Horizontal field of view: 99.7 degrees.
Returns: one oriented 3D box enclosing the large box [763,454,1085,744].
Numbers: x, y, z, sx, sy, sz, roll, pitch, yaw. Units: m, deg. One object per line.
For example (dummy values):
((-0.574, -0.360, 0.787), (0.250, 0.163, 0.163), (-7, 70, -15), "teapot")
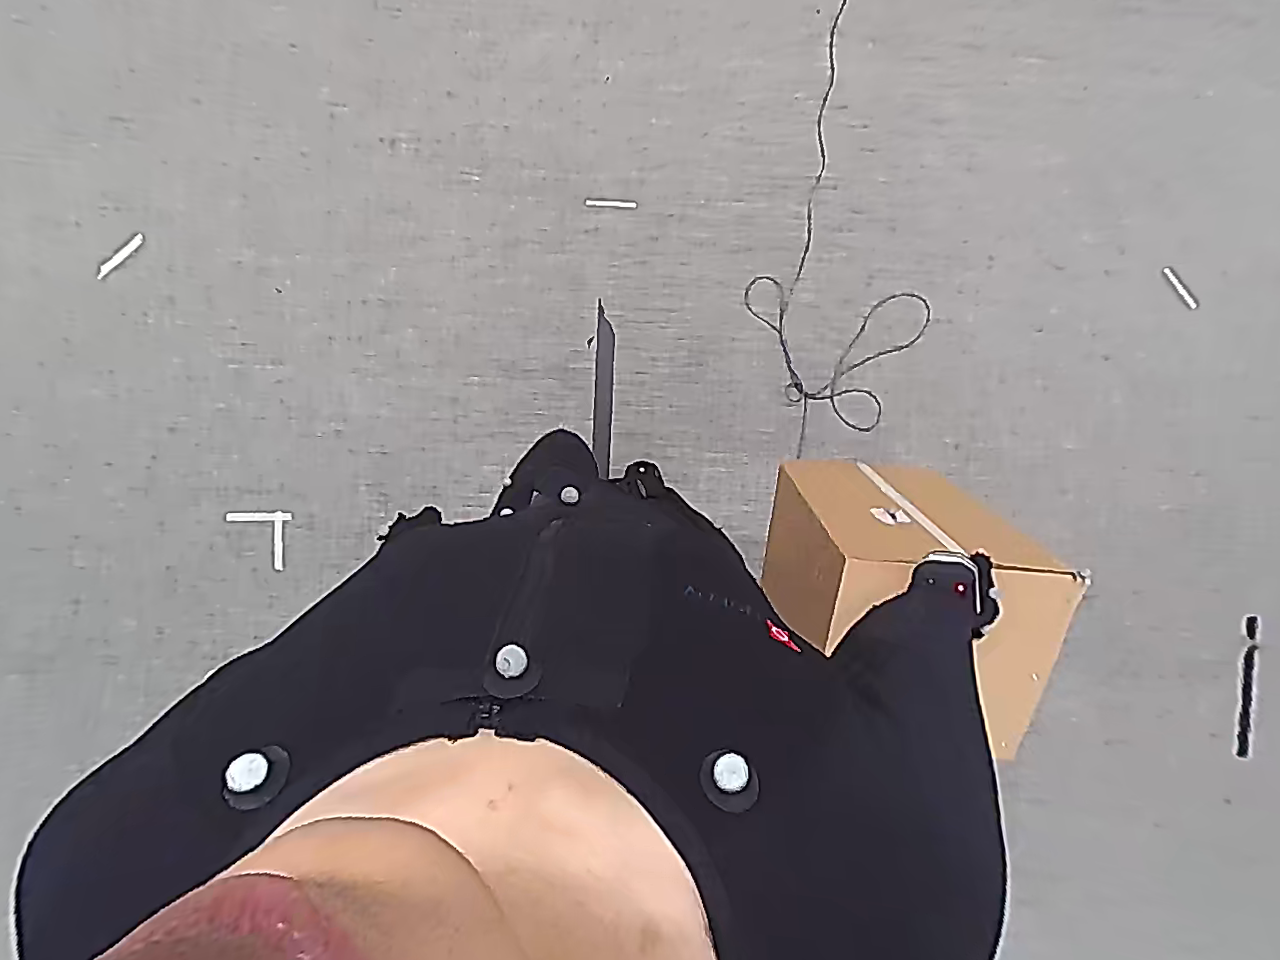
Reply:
((0.423, 0.175, 0.942), (0.320, 0.408, 0.320), (4, 113, 1), "large box")
